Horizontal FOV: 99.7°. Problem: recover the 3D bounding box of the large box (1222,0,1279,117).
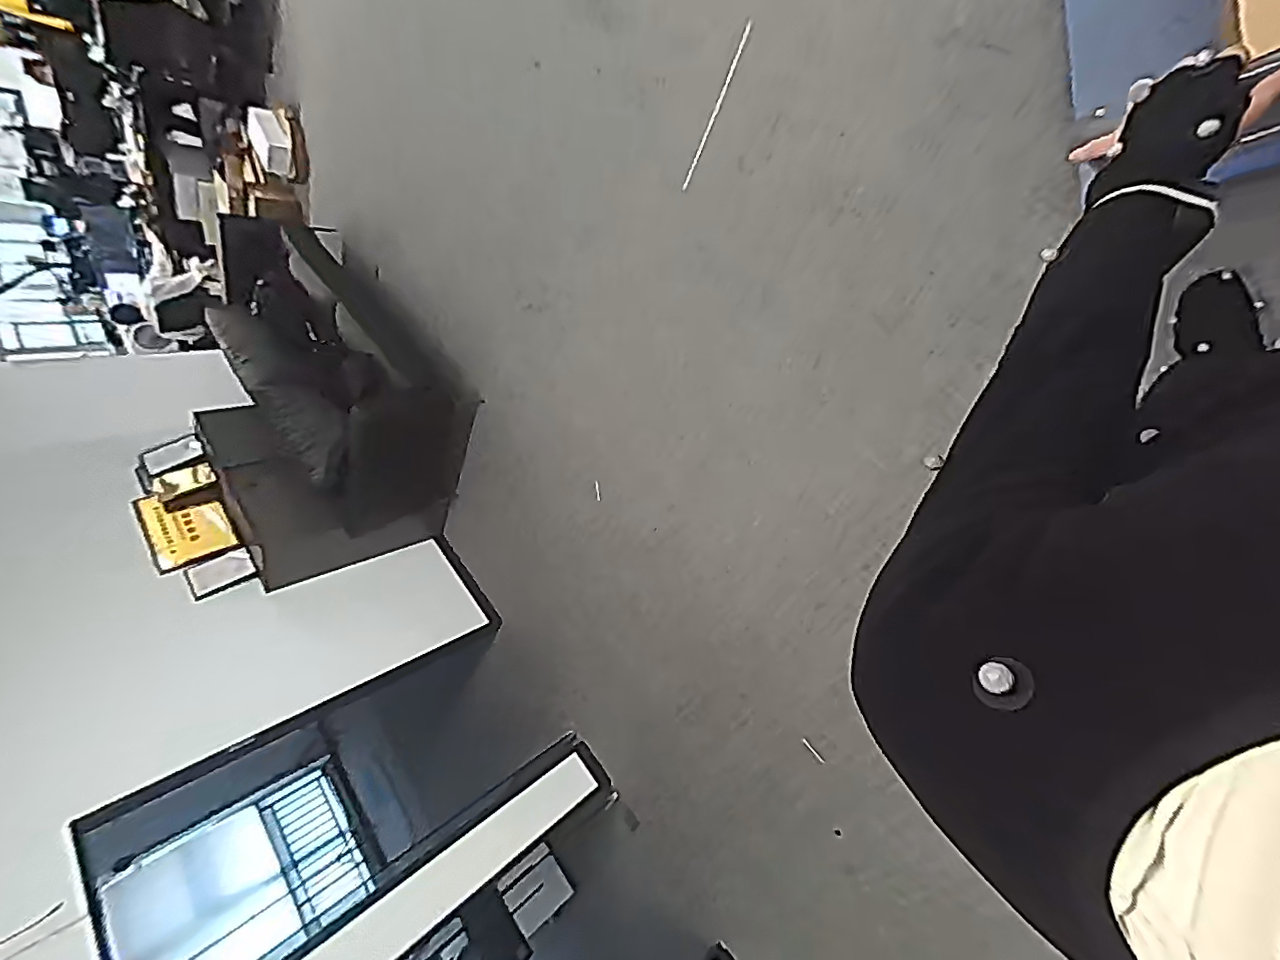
[{"bbox_3d":[0.988,-0.793,0.706,0.320,0.320,0.408,-4,99,45],"label":"large box"}]
